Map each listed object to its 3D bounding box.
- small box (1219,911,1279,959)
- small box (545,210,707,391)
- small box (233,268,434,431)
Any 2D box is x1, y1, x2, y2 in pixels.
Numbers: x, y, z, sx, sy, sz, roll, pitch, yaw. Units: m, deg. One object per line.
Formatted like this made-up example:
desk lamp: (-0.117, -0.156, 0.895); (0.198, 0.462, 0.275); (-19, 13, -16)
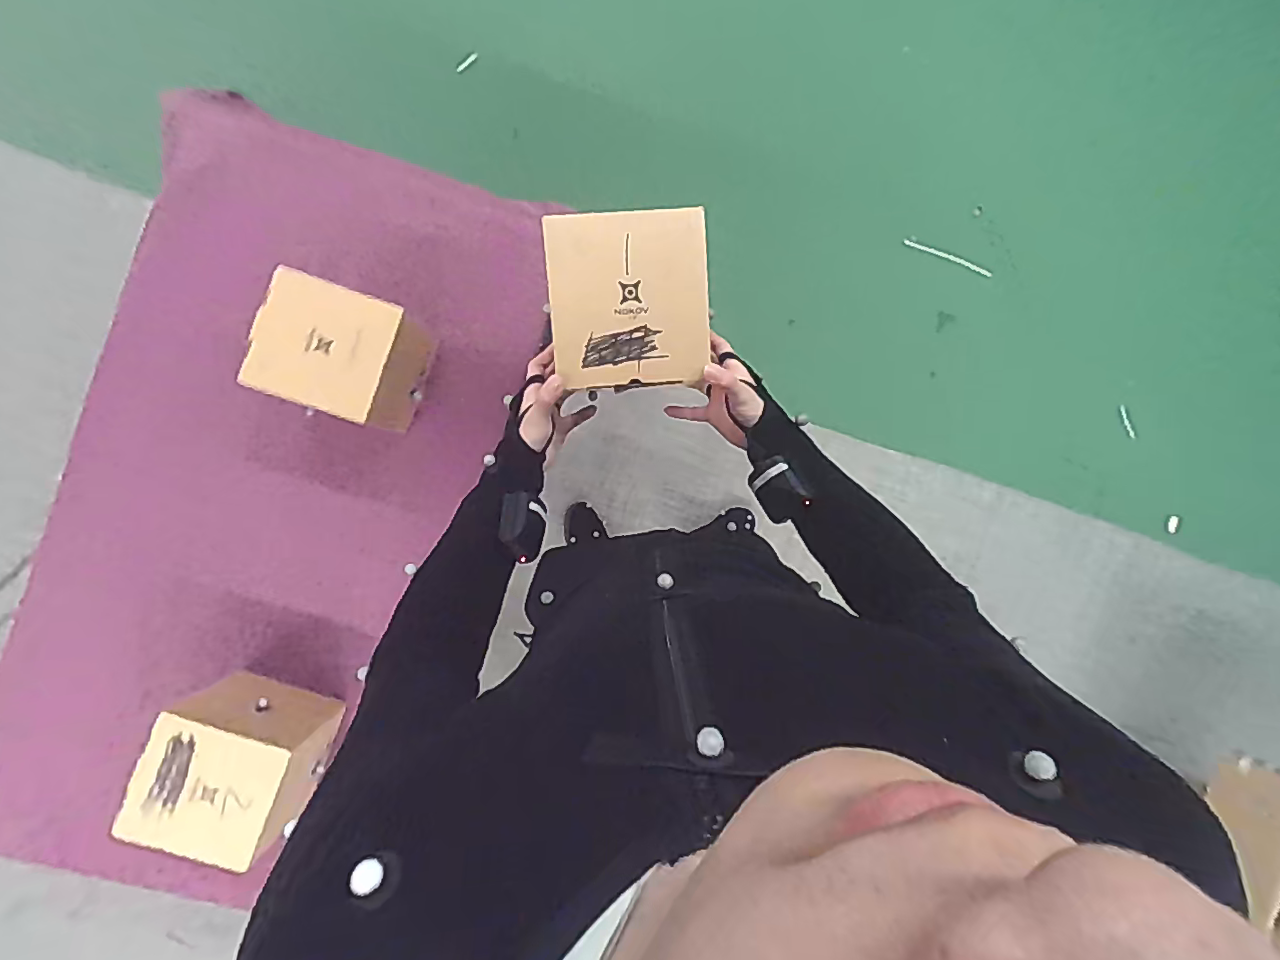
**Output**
small box: (1.530, 1.164, 1.263); (0.179, 0.176, 0.168); (23, 87, -5)
small box: (-0.015, -0.198, 0.637); (0.168, 0.176, 0.179); (-3, 99, -3)
small box: (-0.436, -0.178, 0.800); (0.179, 0.176, 0.168); (19, 89, -4)
